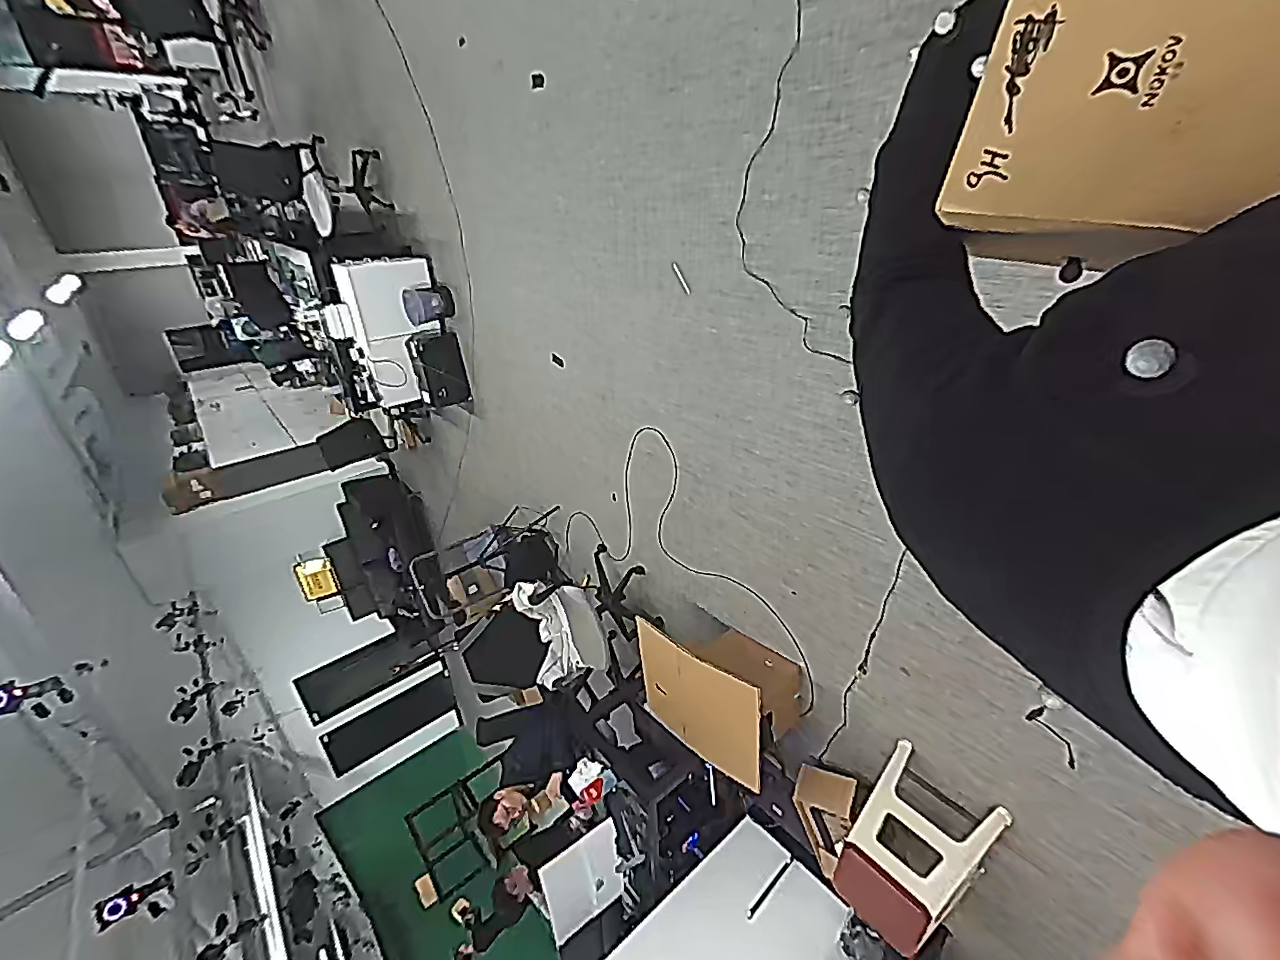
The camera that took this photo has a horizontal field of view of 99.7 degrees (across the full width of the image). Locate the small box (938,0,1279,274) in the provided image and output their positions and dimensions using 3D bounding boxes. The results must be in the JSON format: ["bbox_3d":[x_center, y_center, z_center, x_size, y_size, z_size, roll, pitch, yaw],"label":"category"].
[{"bbox_3d":[0.351,-0.255,0.389,0.179,0.176,0.168,26,112,33],"label":"small box"}]
